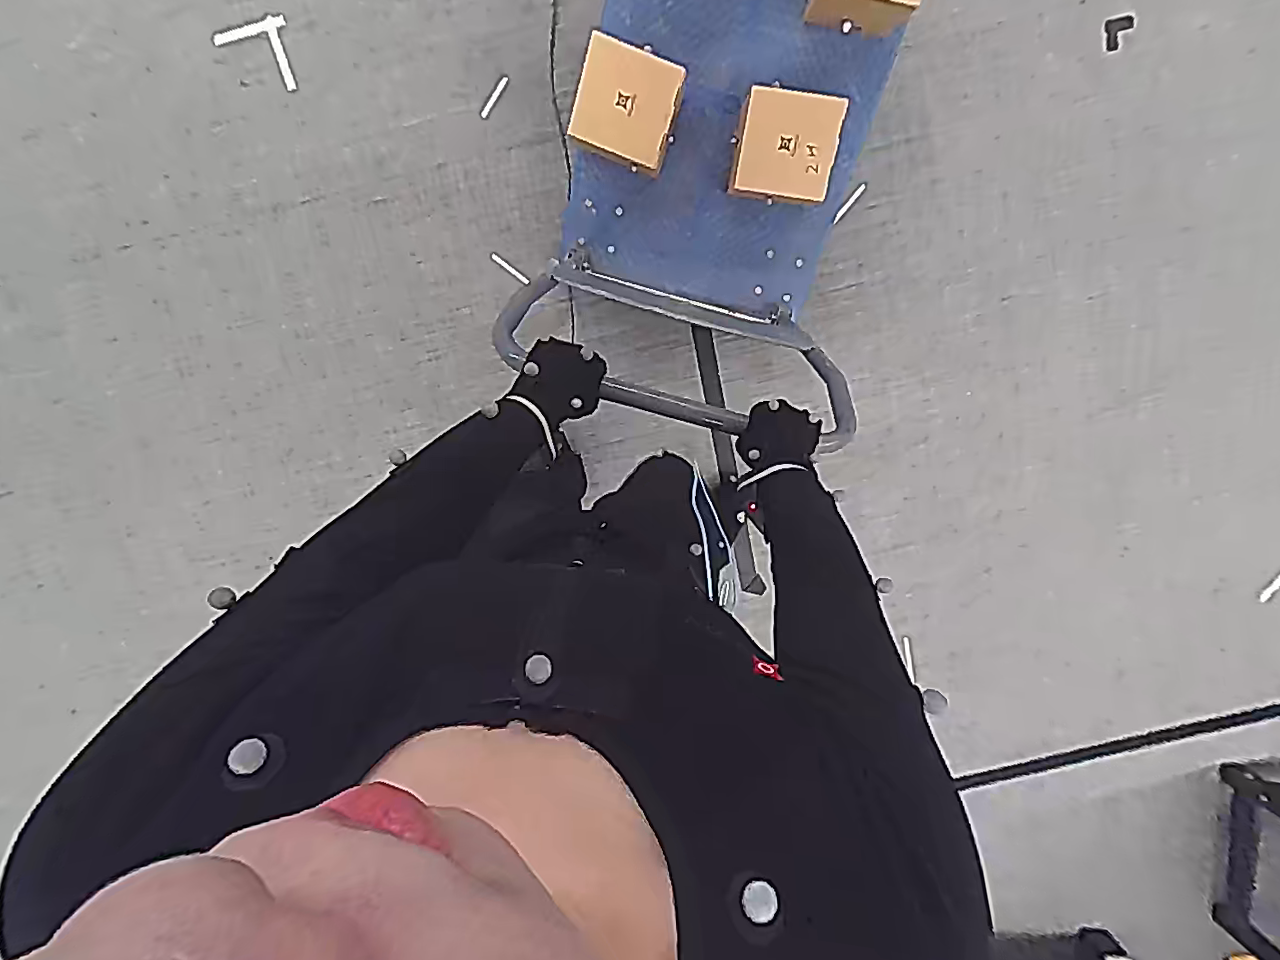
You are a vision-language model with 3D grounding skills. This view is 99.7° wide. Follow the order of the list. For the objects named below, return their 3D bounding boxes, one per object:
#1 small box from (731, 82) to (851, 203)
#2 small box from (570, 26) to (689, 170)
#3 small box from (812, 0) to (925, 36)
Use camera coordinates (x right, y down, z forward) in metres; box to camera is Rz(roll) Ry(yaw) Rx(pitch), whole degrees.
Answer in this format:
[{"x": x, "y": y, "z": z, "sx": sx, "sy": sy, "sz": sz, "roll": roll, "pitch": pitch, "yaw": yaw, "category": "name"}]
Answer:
[{"x": 0.281, "y": -0.646, "z": 1.056, "sx": 0.179, "sy": 0.176, "sz": 0.168, "roll": 10, "pitch": 115, "yaw": 0, "category": "small box"}, {"x": -0.018, "y": -0.720, "z": 1.044, "sx": 0.179, "sy": 0.176, "sz": 0.168, "roll": 19, "pitch": 114, "yaw": -6, "category": "small box"}, {"x": 0.412, "y": -0.909, "z": 0.926, "sx": 0.168, "sy": 0.176, "sz": 0.179, "roll": 12, "pitch": 116, "yaw": -1, "category": "small box"}]
